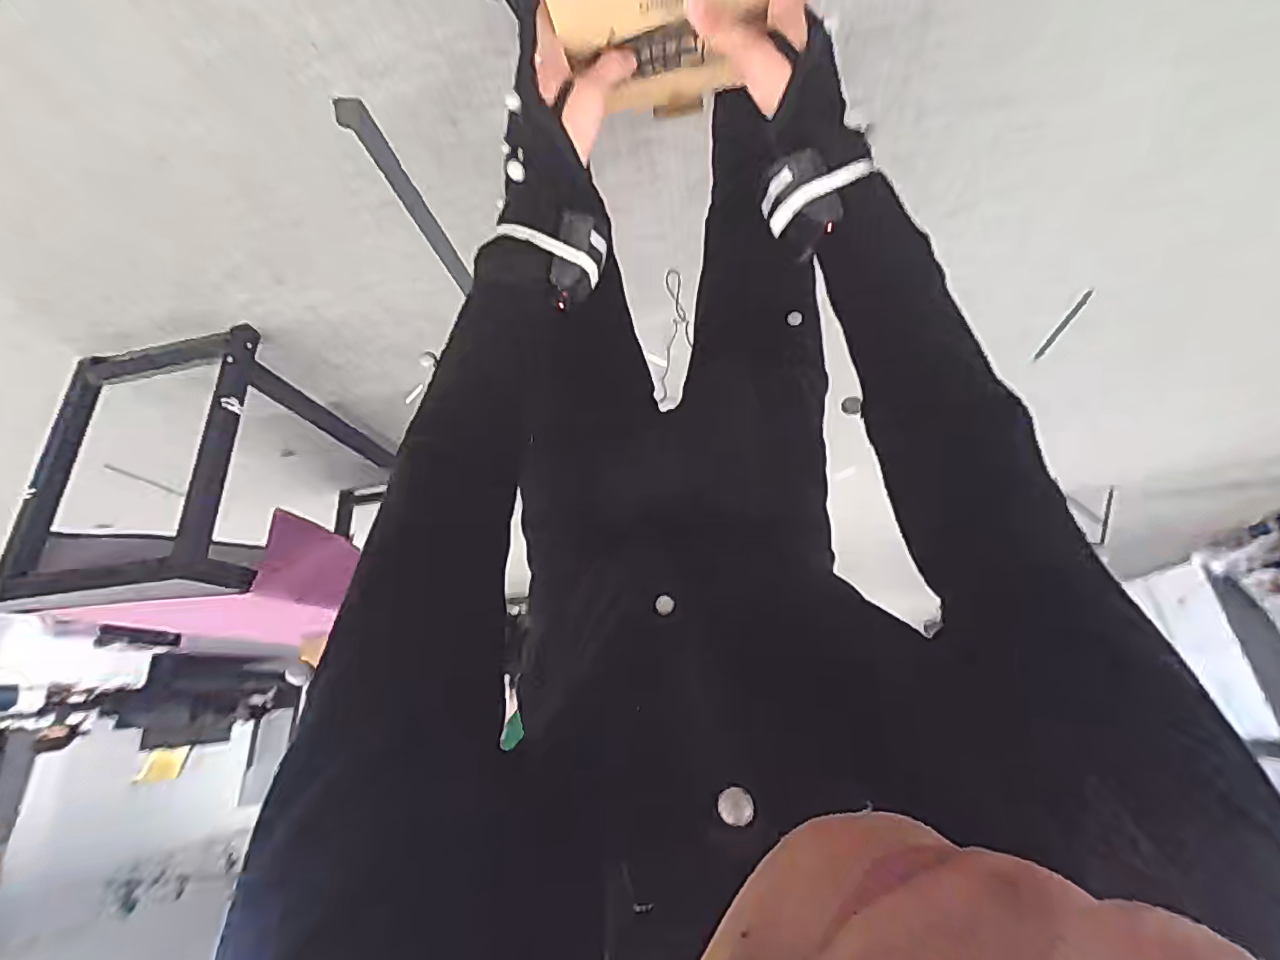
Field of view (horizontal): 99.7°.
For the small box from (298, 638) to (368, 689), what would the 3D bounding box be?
[{"bbox_3d":[-1.219,0.733,2.158,0.179,0.176,0.168,-8,157,6],"label":"small box"}]
